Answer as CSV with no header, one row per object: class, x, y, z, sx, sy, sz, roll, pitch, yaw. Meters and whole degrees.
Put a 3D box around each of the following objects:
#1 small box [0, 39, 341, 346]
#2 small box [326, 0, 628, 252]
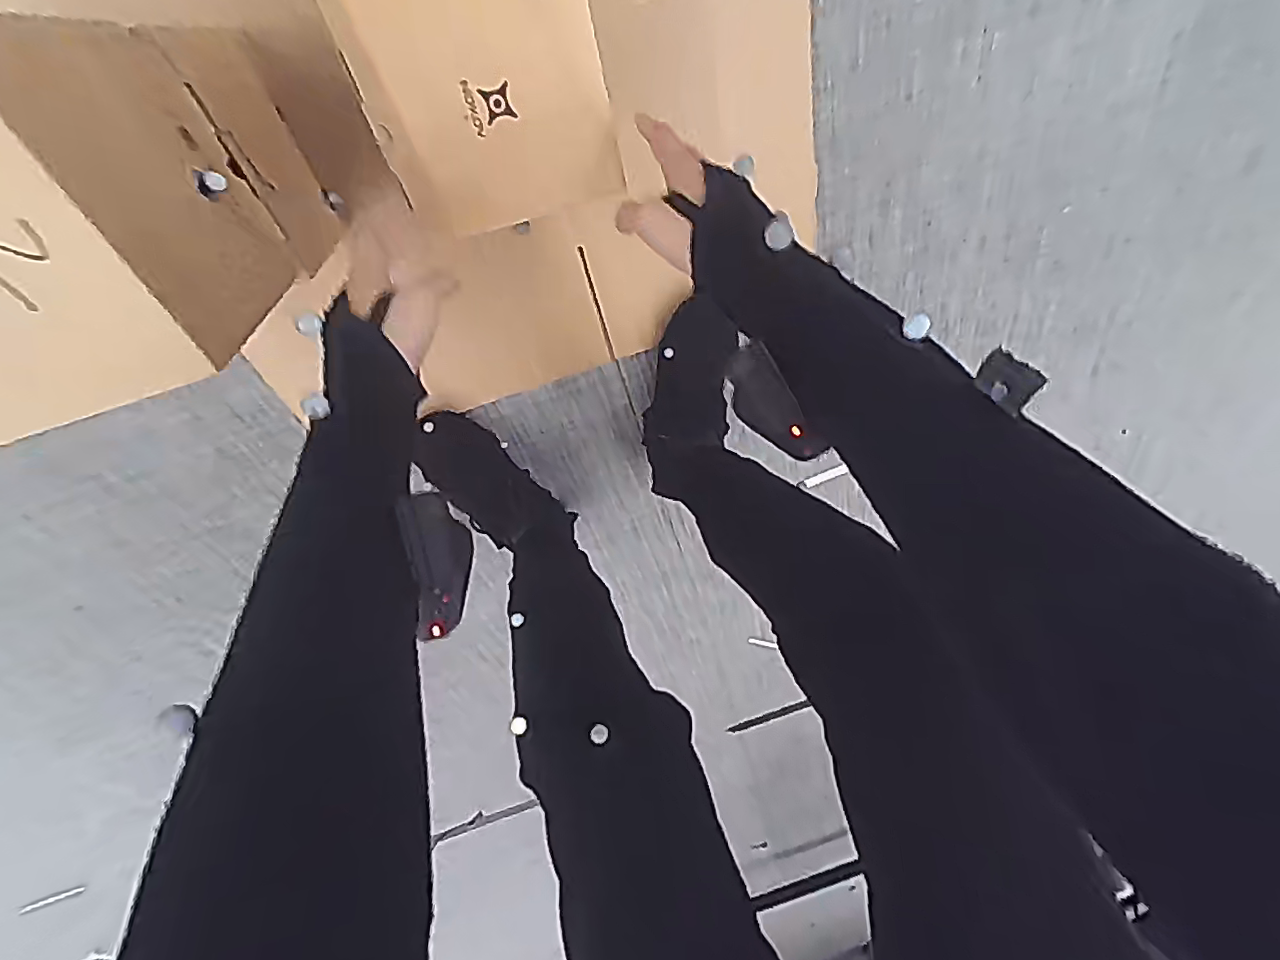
small box,-0.379,-0.244,0.450,0.179,0.176,0.168,-18,131,0
small box,-0.126,-0.324,0.463,0.179,0.176,0.168,-18,131,-2
